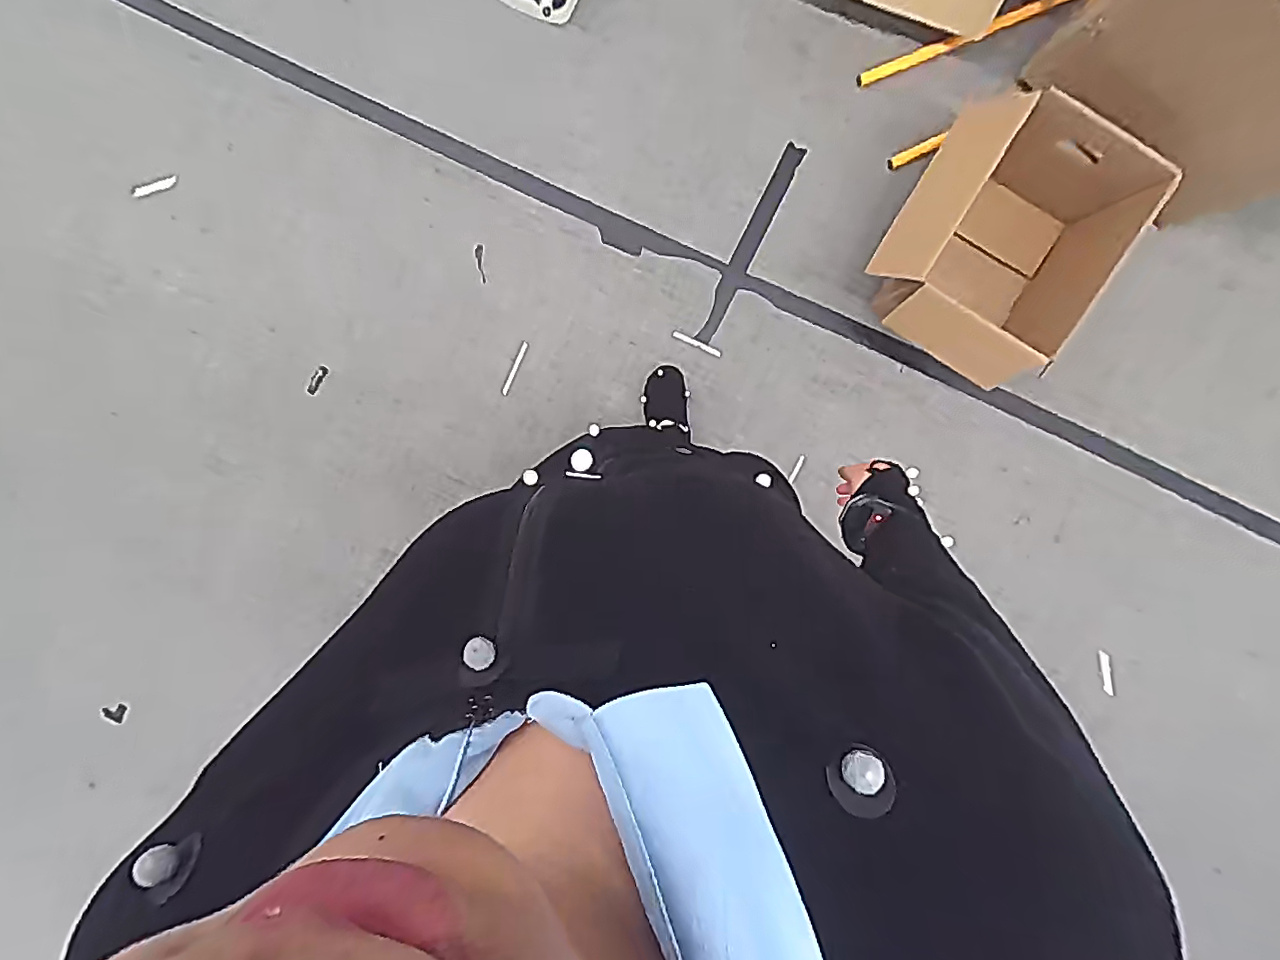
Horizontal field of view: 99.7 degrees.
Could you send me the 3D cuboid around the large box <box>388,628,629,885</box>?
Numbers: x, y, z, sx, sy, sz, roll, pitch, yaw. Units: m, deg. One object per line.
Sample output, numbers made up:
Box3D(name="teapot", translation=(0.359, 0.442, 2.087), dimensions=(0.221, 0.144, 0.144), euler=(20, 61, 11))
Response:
Box3D(name="large box", translation=(-0.278, 0.613, 1.260), dimensions=(0.408, 0.320, 0.320), euler=(27, 98, 0))
